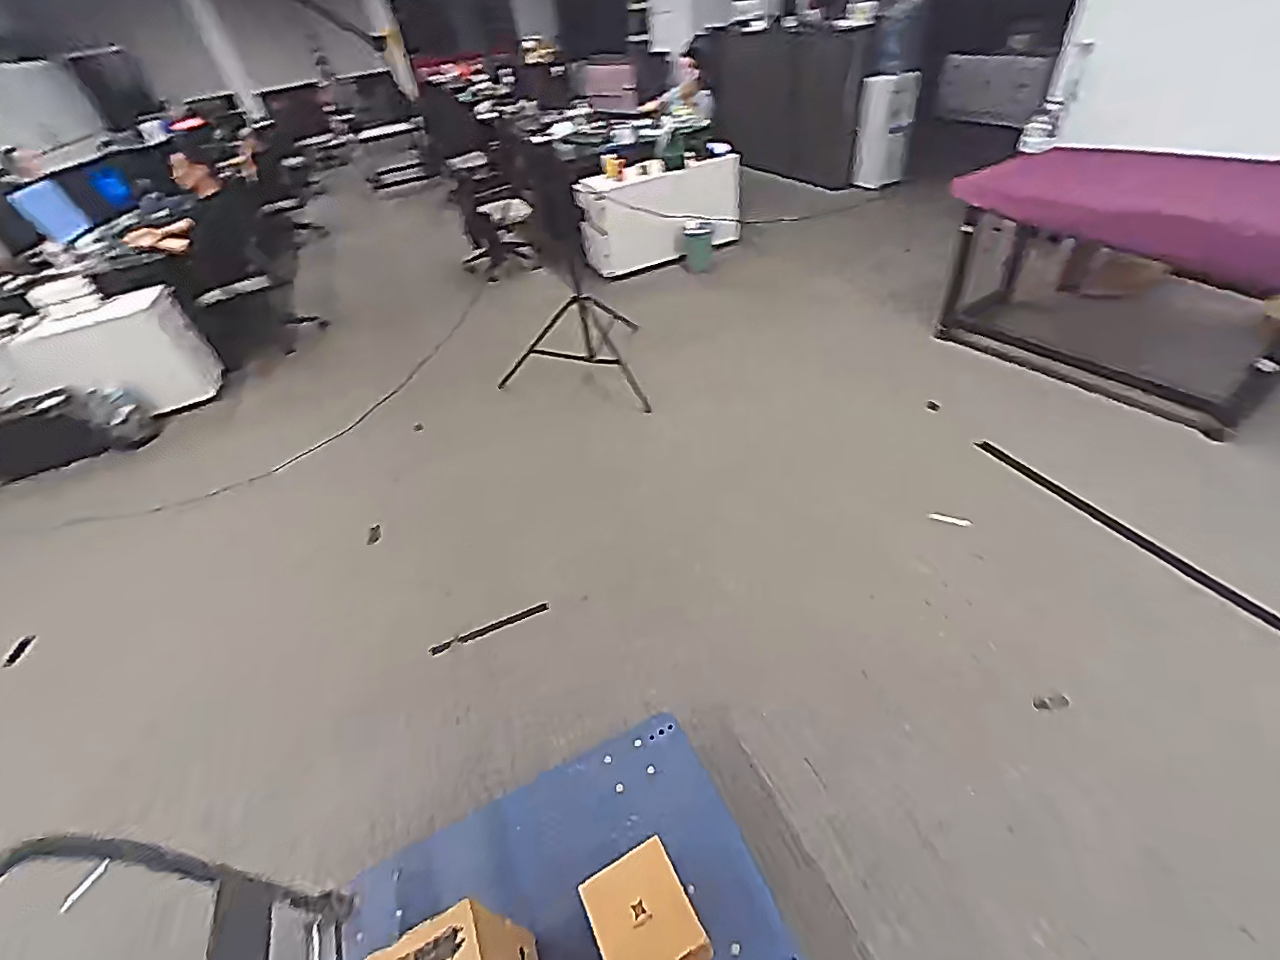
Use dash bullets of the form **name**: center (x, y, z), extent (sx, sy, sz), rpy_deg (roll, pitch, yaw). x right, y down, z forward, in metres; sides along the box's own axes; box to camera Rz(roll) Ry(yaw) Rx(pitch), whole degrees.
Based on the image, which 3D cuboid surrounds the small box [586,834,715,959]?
- **small box**: center (0.021, 0.793, 0.975), extent (0.168, 0.176, 0.179), rpy_deg (-25, 44, -16)

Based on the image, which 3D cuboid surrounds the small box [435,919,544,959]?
- **small box**: center (-0.248, 0.896, 0.910), extent (0.168, 0.176, 0.179), rpy_deg (-21, 43, -11)
